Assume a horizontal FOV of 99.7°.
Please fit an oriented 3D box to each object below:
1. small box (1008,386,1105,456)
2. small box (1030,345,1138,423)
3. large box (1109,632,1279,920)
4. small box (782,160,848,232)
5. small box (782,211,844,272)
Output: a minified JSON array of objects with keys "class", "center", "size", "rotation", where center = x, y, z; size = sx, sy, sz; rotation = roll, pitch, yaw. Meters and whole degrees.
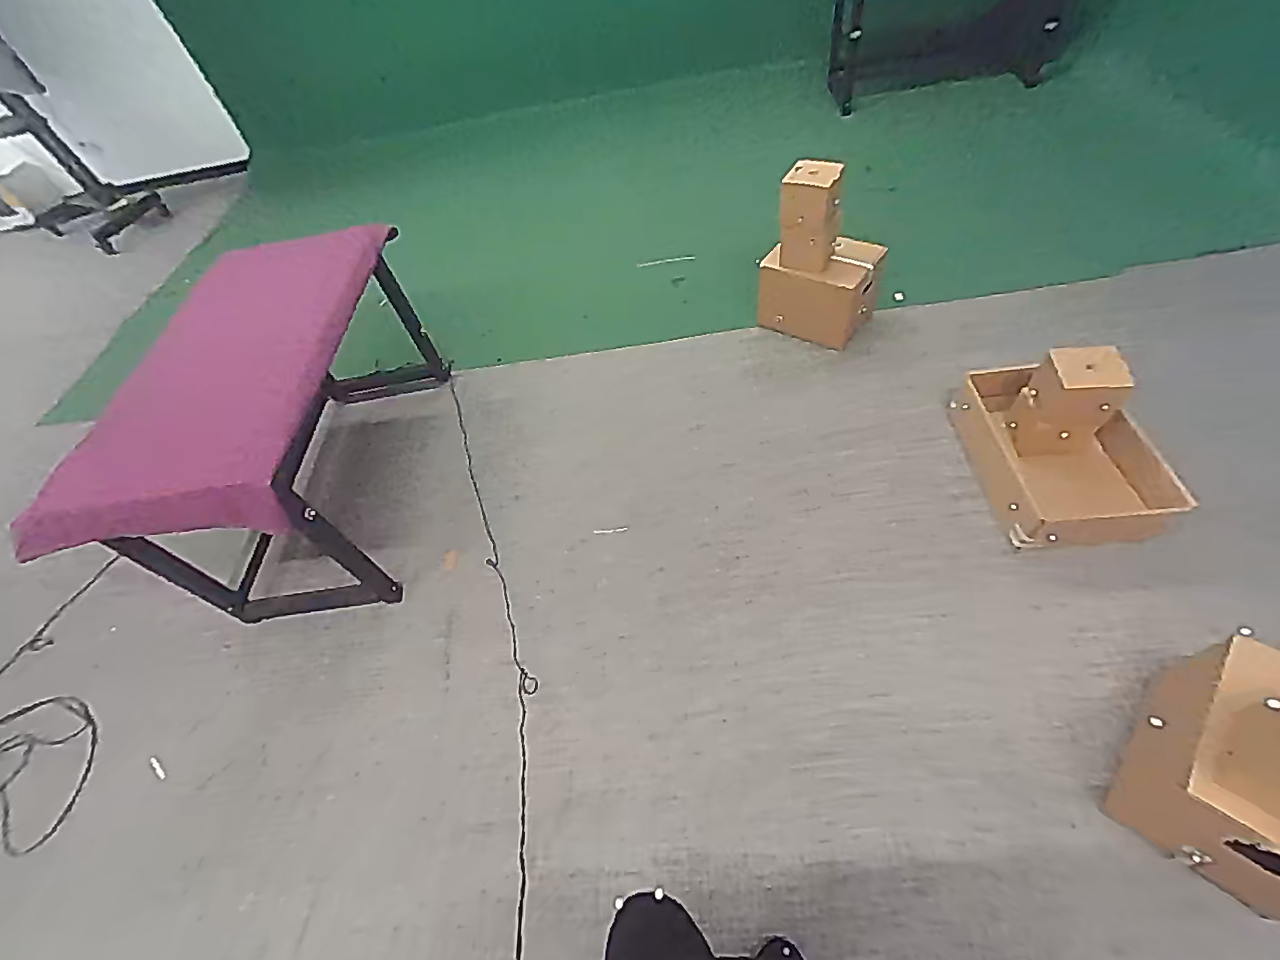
[{"class":"small box","center":[1.345,-0.194,1.760],"size":[0.179,0.176,0.168],"rotation":[-3,56,10]},{"class":"small box","center":[1.324,-0.284,1.626],"size":[0.179,0.176,0.168],"rotation":[0,56,12]},{"class":"large box","center":[1.293,0.616,1.136],"size":[0.320,0.320,0.408],"rotation":[32,64,28]},{"class":"small box","center":[0.641,-1.046,1.998],"size":[0.179,0.176,0.168],"rotation":[24,61,24]},{"class":"small box","center":[0.675,-0.945,2.123],"size":[0.179,0.176,0.168],"rotation":[22,60,24]}]
